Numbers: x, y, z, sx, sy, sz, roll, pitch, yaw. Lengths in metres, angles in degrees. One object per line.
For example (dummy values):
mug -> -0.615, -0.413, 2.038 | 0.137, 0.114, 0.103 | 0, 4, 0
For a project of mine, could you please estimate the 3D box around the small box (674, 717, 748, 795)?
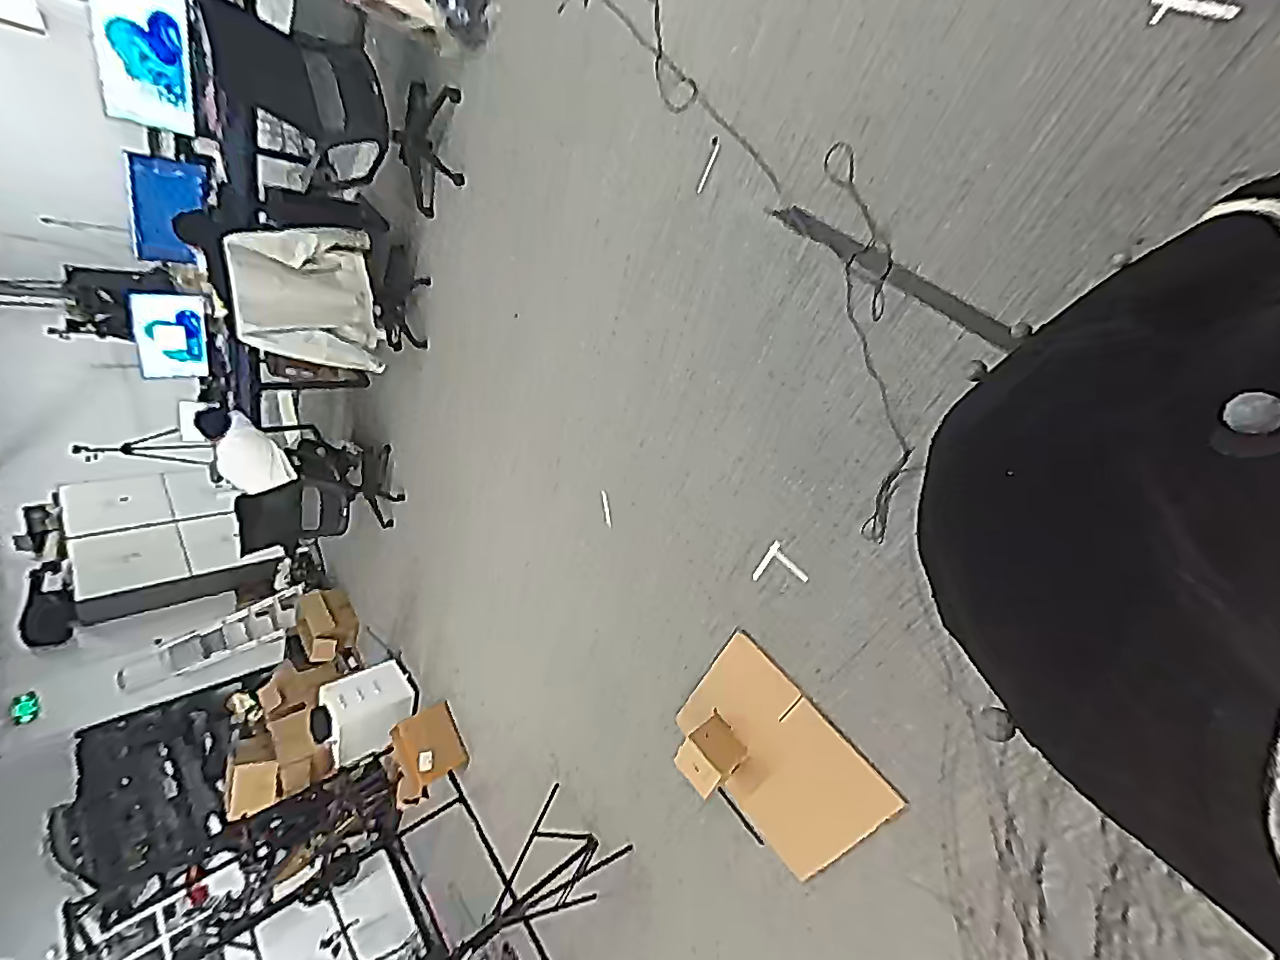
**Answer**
small box -> 0.264, 1.011, 2.005 | 0.179, 0.176, 0.168 | 40, 126, 31
